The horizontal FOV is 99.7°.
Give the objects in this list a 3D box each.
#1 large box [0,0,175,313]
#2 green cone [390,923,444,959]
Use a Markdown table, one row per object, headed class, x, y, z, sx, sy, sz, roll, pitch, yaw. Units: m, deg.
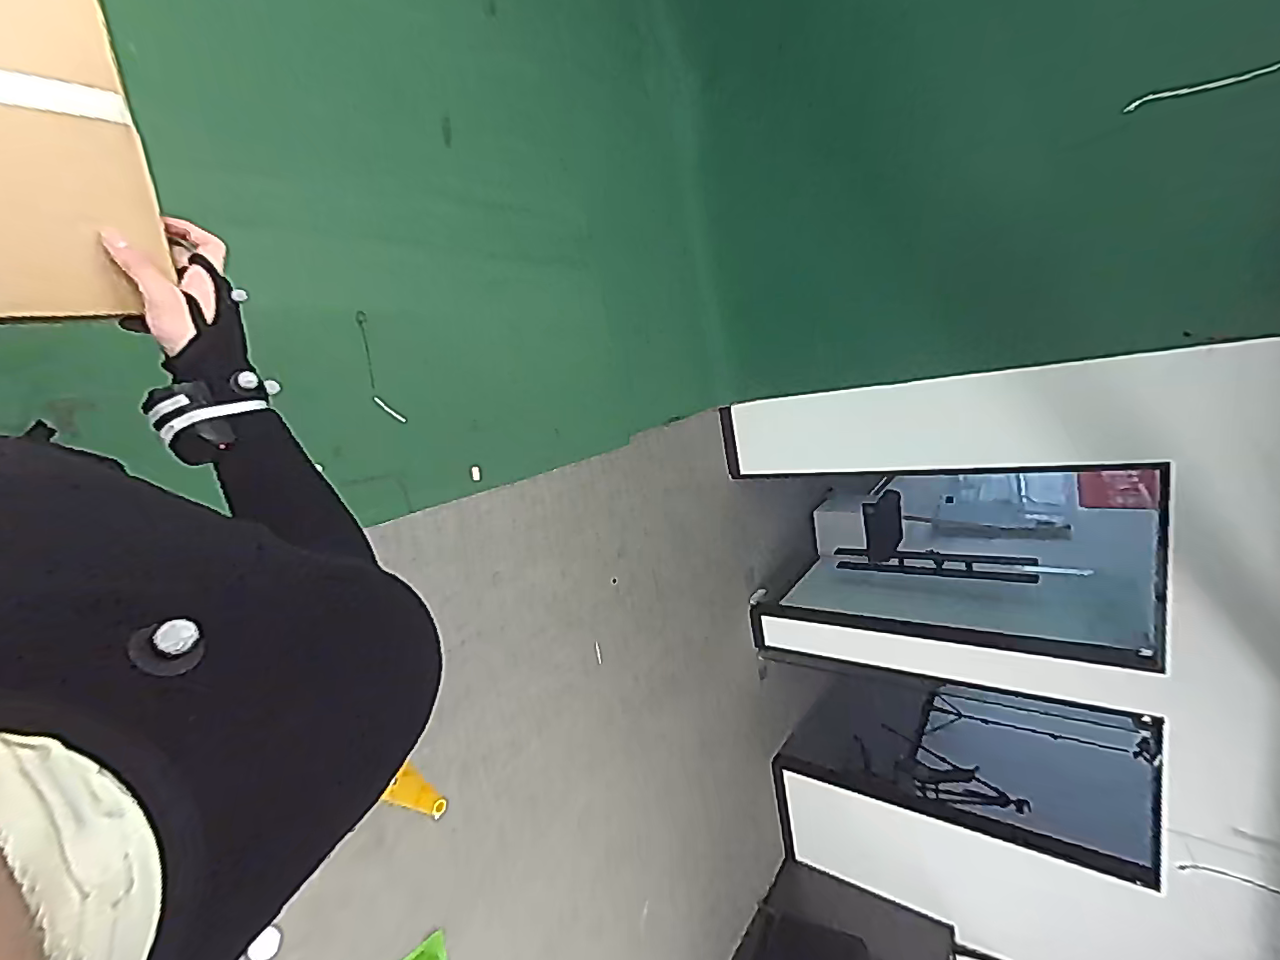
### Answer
| class | x | y | z | sx | sy | sz | roll | pitch | yaw |
| --- | --- | --- | --- | --- | --- | --- | --- | --- | --- |
| large box | -0.666 | -0.281 | 0.391 | 0.408 | 0.320 | 0.320 | -22 | 117 | -46 |
| green cone | -0.605 | 1.605 | 1.673 | 0.200 | 0.368 | 0.202 | -14 | 99 | -52 |
